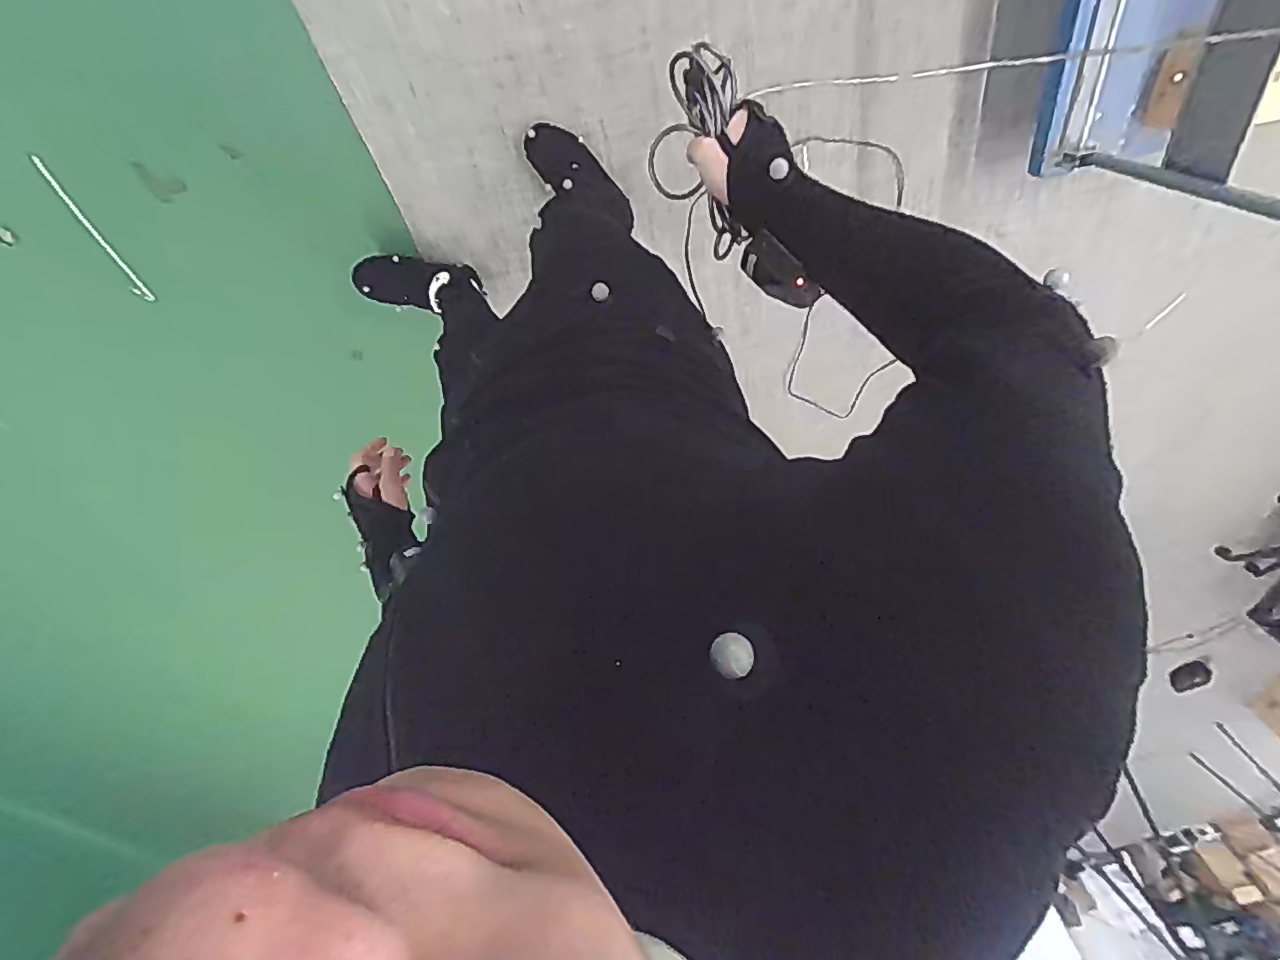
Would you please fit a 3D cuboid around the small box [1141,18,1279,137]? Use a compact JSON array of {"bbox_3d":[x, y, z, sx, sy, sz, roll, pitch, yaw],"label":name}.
[{"bbox_3d":[1.218,-0.835,1.117,0.179,0.176,0.168,-12,130,1],"label":"small box"}]
